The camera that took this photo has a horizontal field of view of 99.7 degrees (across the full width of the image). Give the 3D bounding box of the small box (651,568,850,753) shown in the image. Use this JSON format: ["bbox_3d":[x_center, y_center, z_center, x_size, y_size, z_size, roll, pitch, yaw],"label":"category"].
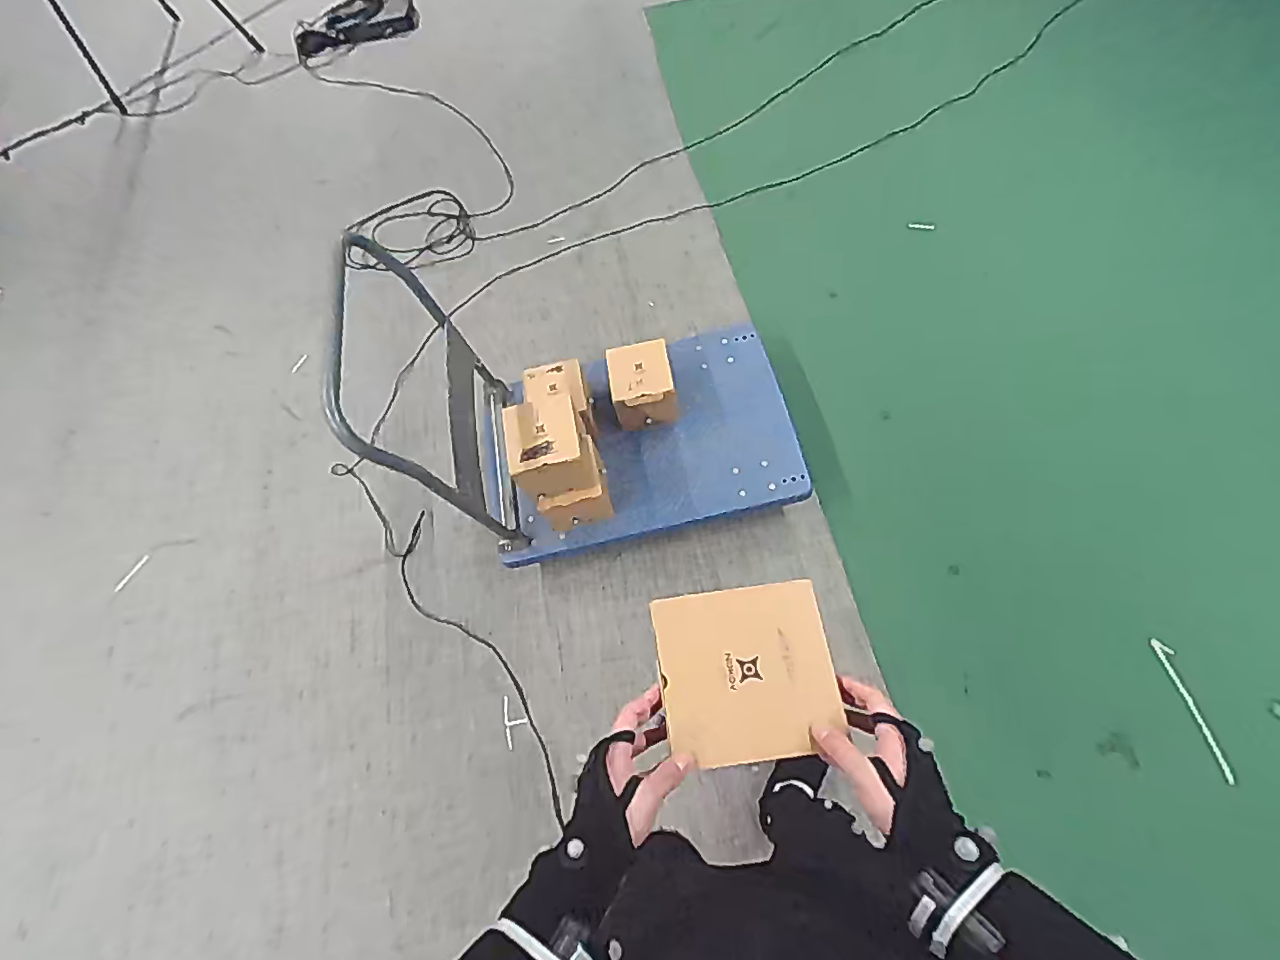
[{"bbox_3d":[0.111,0.209,0.616,0.179,0.176,0.168,-7,67,1],"label":"small box"}]

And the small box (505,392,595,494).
[{"bbox_3d":[-0.210,-0.079,1.287,0.168,0.176,0.179,-13,65,2],"label":"small box"}]

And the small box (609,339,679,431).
[{"bbox_3d":[0.013,-0.261,1.514,0.168,0.176,0.179,-10,66,4],"label":"small box"}]

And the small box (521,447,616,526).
[{"bbox_3d":[-0.182,0.009,1.434,0.179,0.176,0.168,15,71,15],"label":"small box"}]
